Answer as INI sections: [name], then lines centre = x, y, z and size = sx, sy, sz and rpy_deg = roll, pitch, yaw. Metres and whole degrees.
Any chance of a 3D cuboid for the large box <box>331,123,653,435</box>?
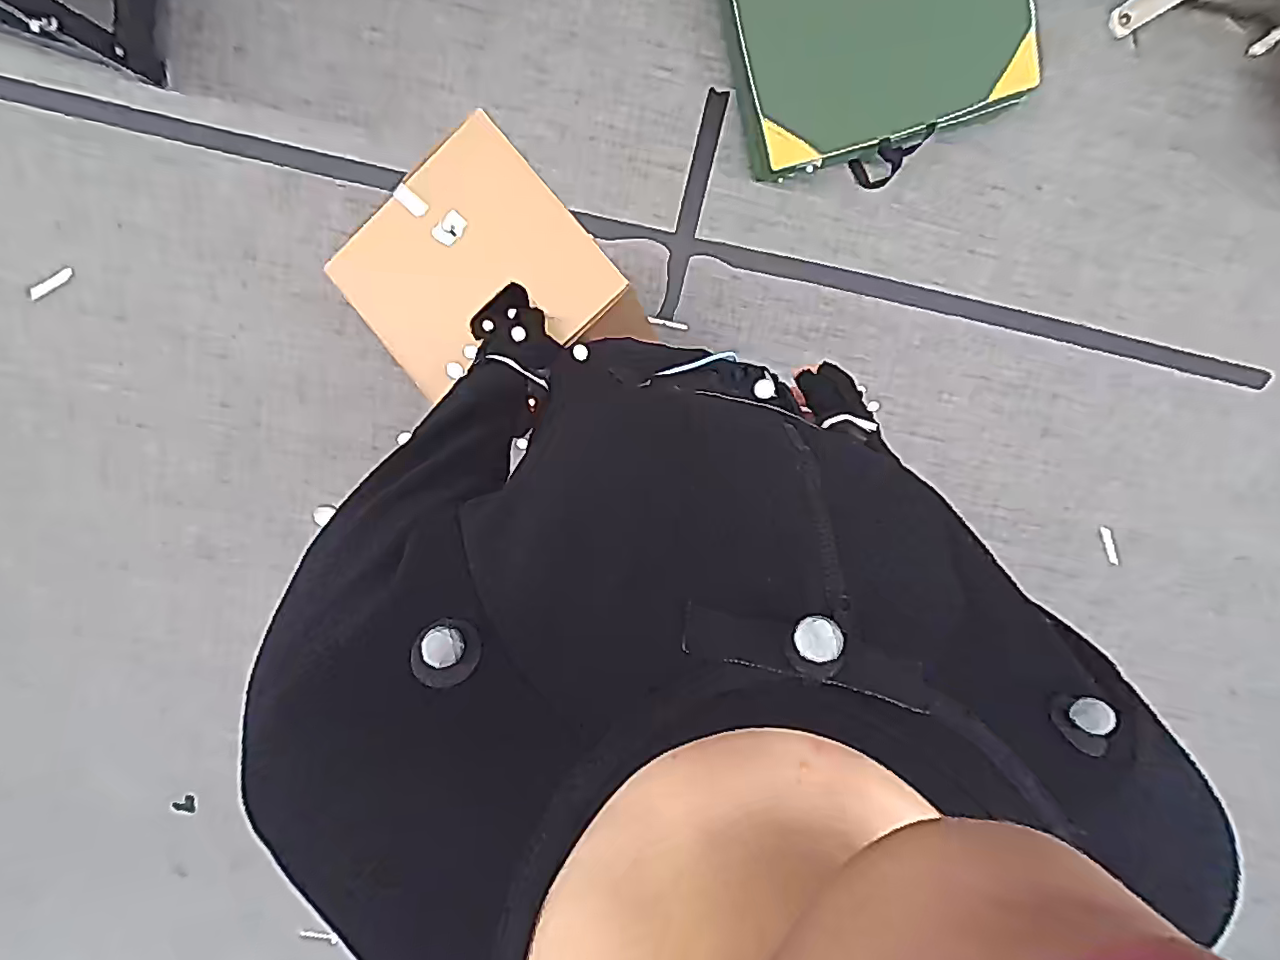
[large box]
centre = -0.211, -0.293, 0.932
size = 0.320, 0.408, 0.320
rpy_deg = -39, 89, 9
